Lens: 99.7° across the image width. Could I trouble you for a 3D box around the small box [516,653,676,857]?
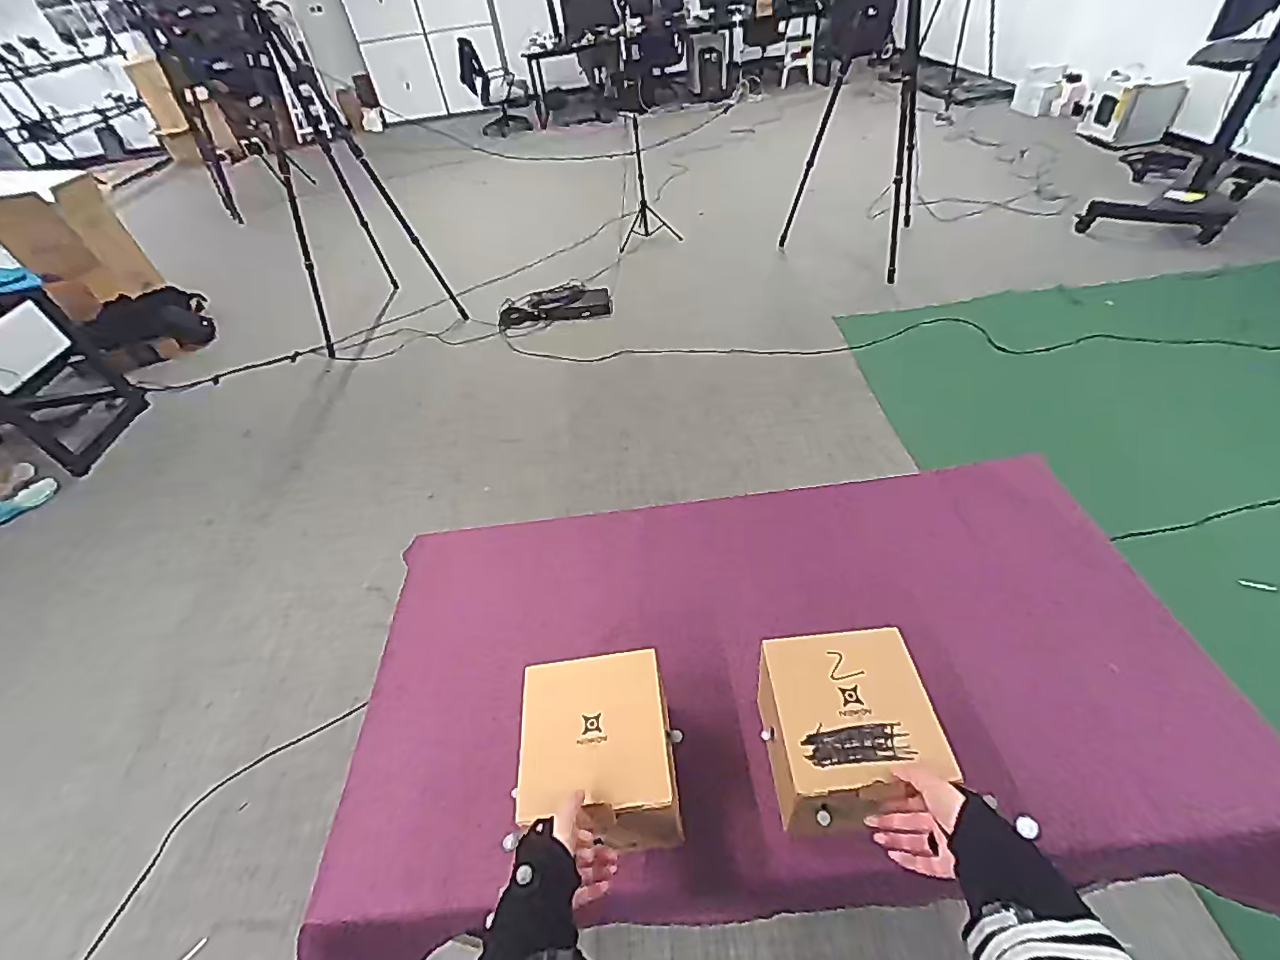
[{"bbox_3d":[-0.049,0.346,0.682,0.168,0.176,0.179,-8,45,1],"label":"small box"}]
